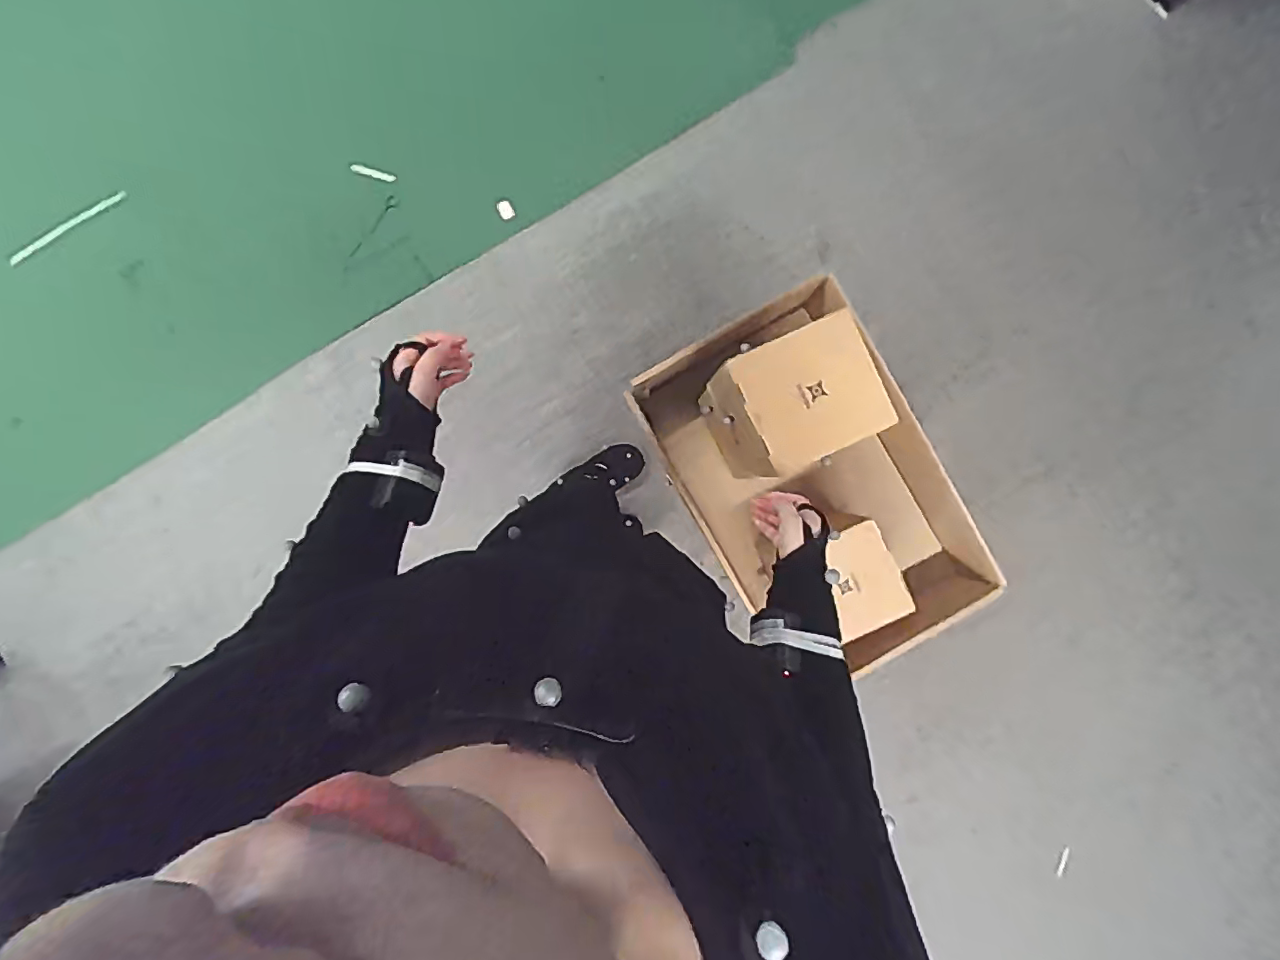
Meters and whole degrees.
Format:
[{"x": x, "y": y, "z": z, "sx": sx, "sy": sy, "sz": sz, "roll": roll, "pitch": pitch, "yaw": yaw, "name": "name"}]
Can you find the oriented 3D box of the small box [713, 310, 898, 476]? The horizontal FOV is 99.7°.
[{"x": 0.222, "y": -0.115, "z": 0.774, "sx": 0.179, "sy": 0.176, "sz": 0.168, "roll": -24, "pitch": 91, "yaw": 0, "name": "small box"}]
